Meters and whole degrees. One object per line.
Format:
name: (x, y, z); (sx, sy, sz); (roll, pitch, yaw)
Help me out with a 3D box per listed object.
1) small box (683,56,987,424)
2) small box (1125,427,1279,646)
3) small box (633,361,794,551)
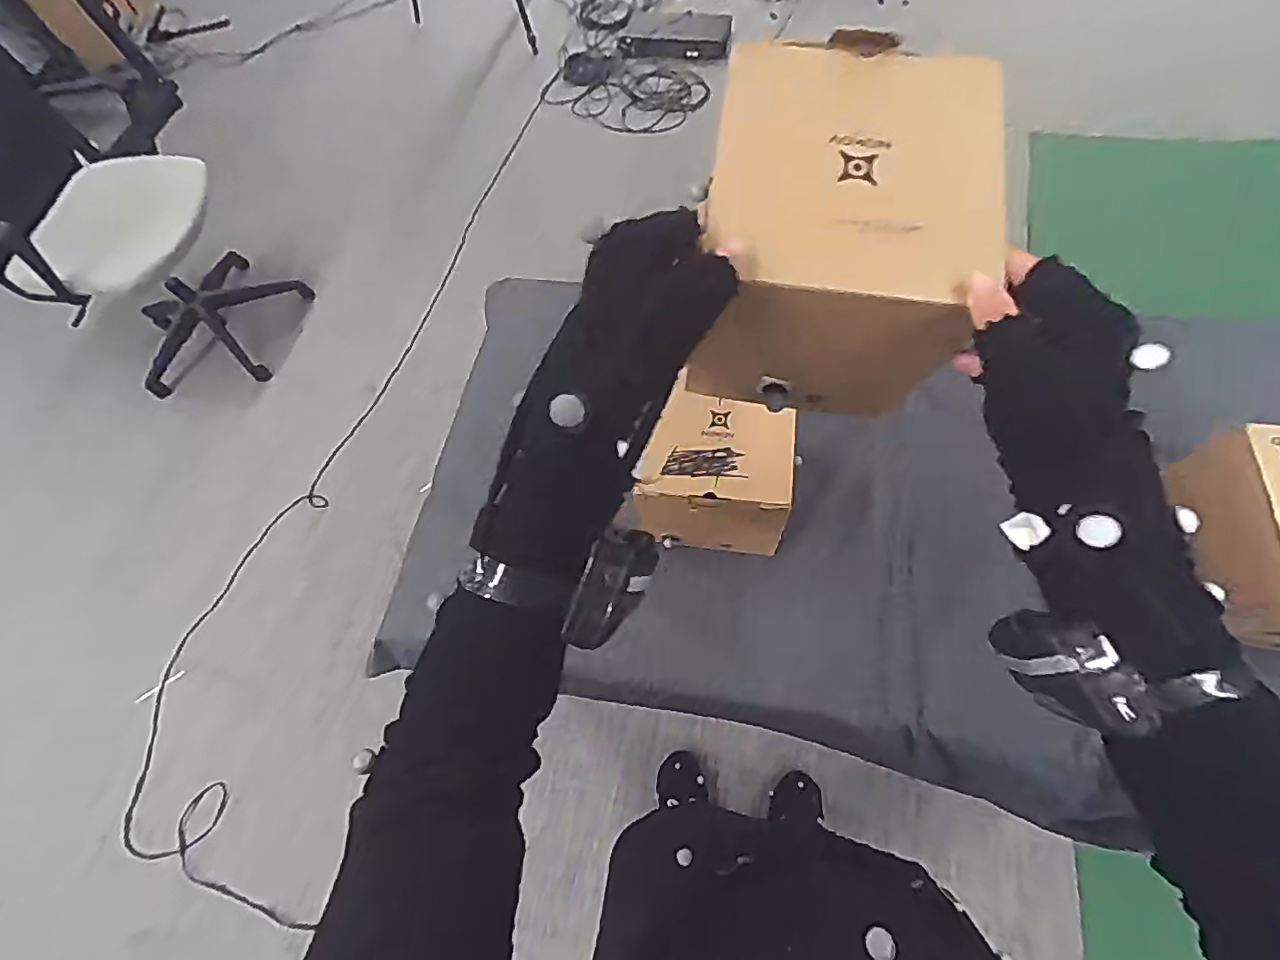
small box: (0.124, -0.159, 0.400); (0.168, 0.176, 0.179); (7, 75, 4)
small box: (0.655, 0.068, 0.555); (0.168, 0.176, 0.179); (7, 67, 10)
small box: (0.094, -0.022, 0.665); (0.168, 0.176, 0.179); (6, 65, 9)
